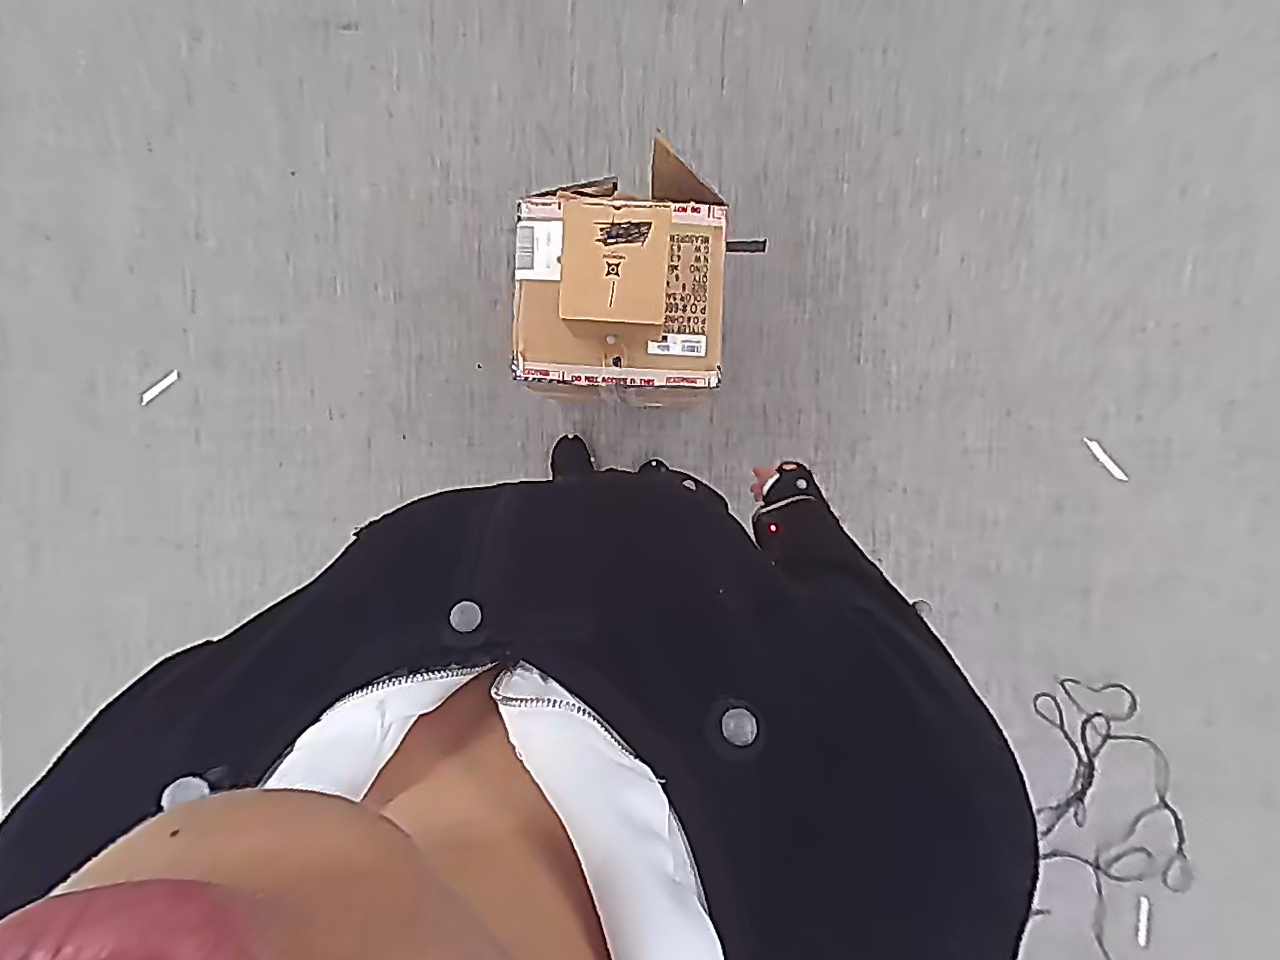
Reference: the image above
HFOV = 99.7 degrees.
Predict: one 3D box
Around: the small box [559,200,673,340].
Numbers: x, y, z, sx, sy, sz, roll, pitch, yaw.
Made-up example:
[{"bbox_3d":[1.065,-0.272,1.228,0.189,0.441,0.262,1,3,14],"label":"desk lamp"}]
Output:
[{"bbox_3d":[-0.038,-0.342,0.910,0.168,0.176,0.179,4,96,0],"label":"small box"}]
